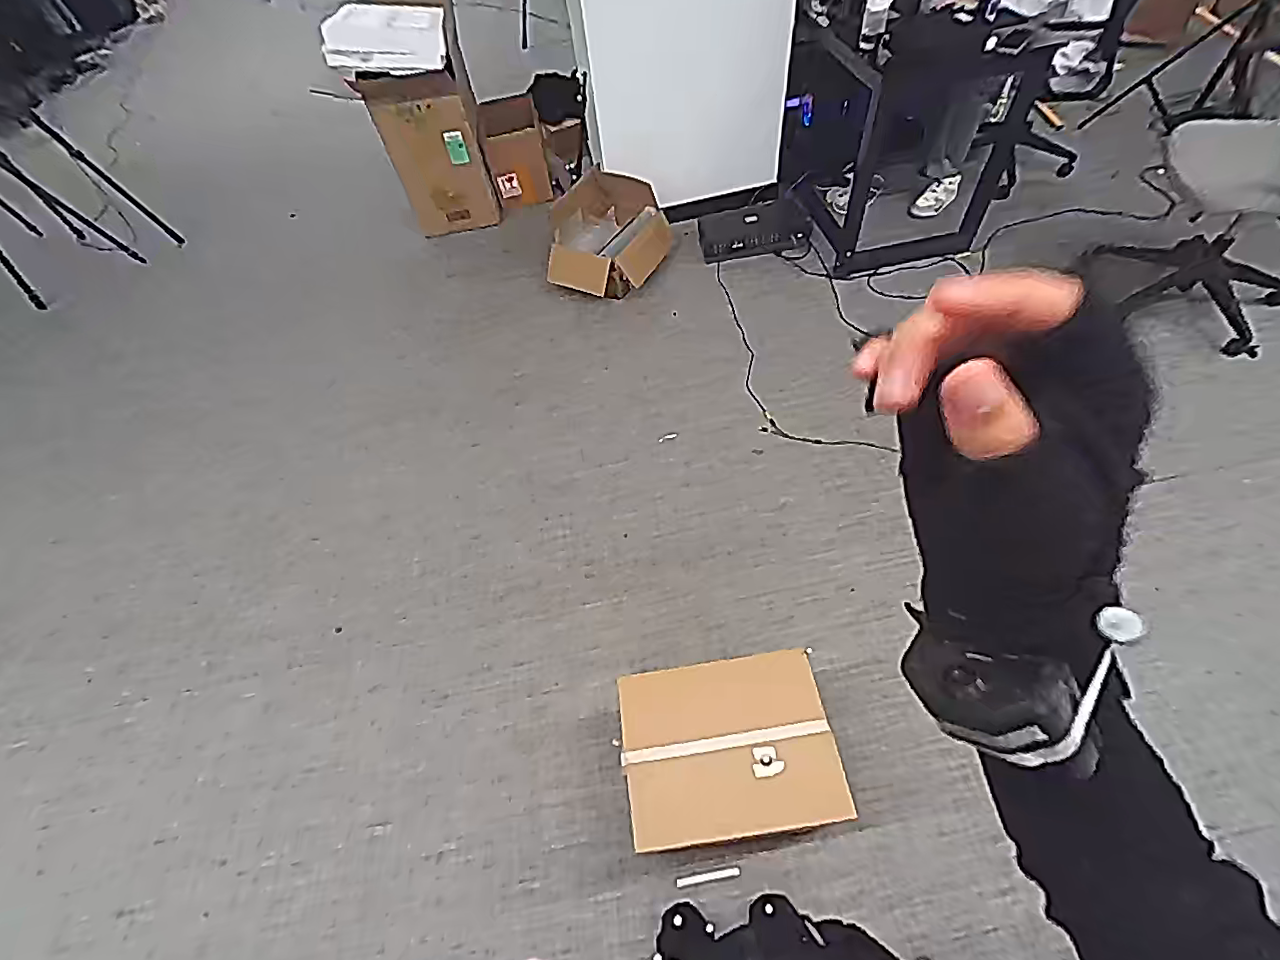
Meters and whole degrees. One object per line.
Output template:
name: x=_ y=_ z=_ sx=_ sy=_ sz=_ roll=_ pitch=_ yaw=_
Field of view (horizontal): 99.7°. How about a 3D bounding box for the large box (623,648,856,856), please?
large box: x=0.192 y=0.600 z=1.181 sx=0.408 sy=0.320 sz=0.320 roll=-9 pitch=54 yaw=0
